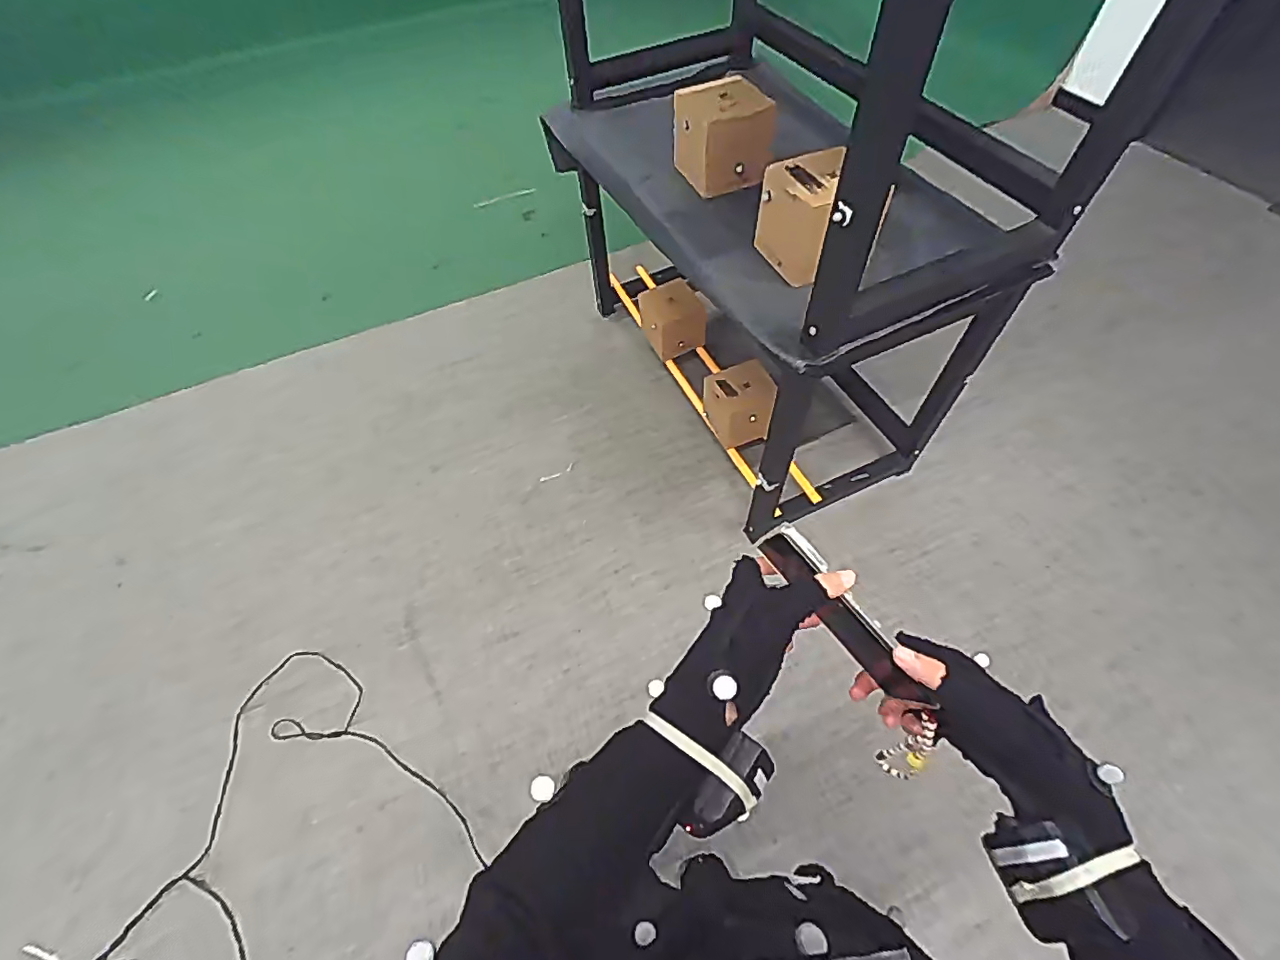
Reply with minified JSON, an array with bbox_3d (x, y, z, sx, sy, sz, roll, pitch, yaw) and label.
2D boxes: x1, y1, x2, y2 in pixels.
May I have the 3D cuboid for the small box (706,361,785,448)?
[{"bbox_3d":[0.308,-0.220,1.618,0.179,0.176,0.168,-20,58,-9],"label":"small box"}]

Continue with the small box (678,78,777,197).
[{"bbox_3d":[0.193,-0.793,1.255,0.168,0.176,0.179,-20,58,-9],"label":"small box"}]
